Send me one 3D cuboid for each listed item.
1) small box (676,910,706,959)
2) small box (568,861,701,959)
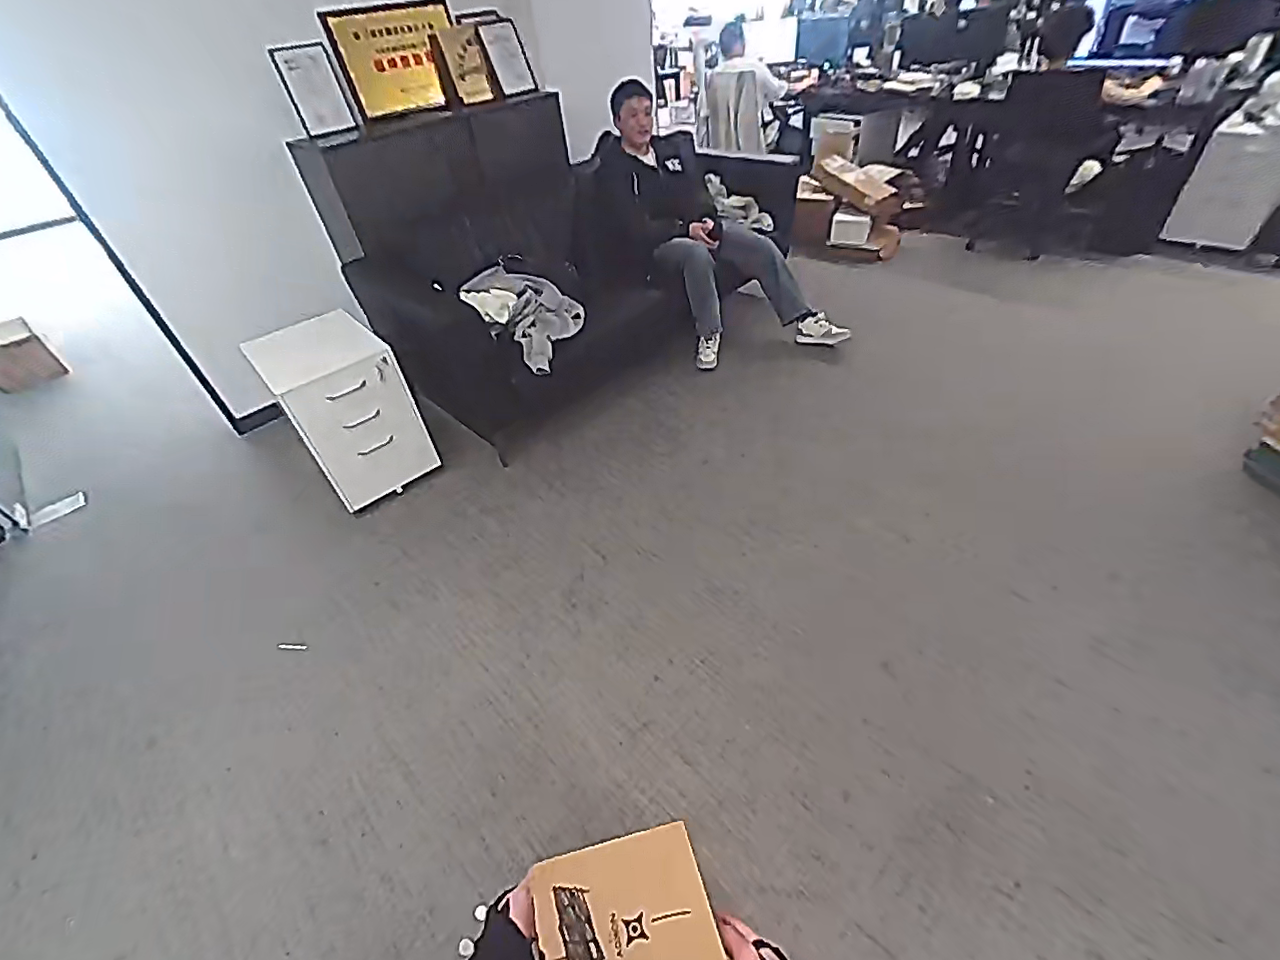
[{"bbox_3d":[0.017,0.920,1.029,0.179,0.176,0.168,11,43,22],"label":"small box"},{"bbox_3d":[-0.001,0.808,0.922,0.168,0.176,0.179,-24,43,-21],"label":"small box"}]
